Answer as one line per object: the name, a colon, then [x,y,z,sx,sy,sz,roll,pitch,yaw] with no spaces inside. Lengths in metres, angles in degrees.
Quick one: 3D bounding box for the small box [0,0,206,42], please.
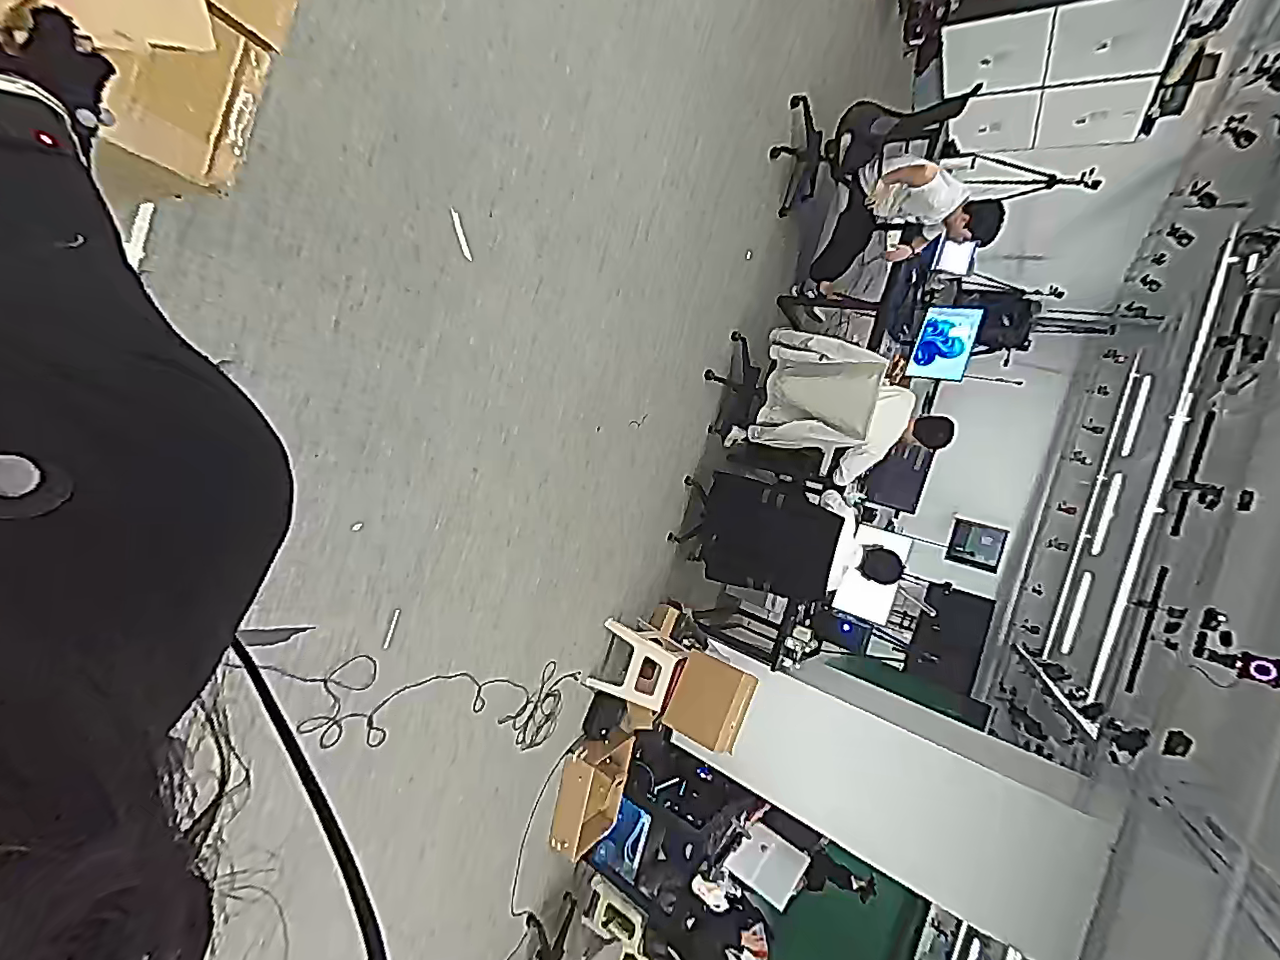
small box: [-0.546,-0.528,0.489,0.168,0.176,0.179,-34,144,-44]
